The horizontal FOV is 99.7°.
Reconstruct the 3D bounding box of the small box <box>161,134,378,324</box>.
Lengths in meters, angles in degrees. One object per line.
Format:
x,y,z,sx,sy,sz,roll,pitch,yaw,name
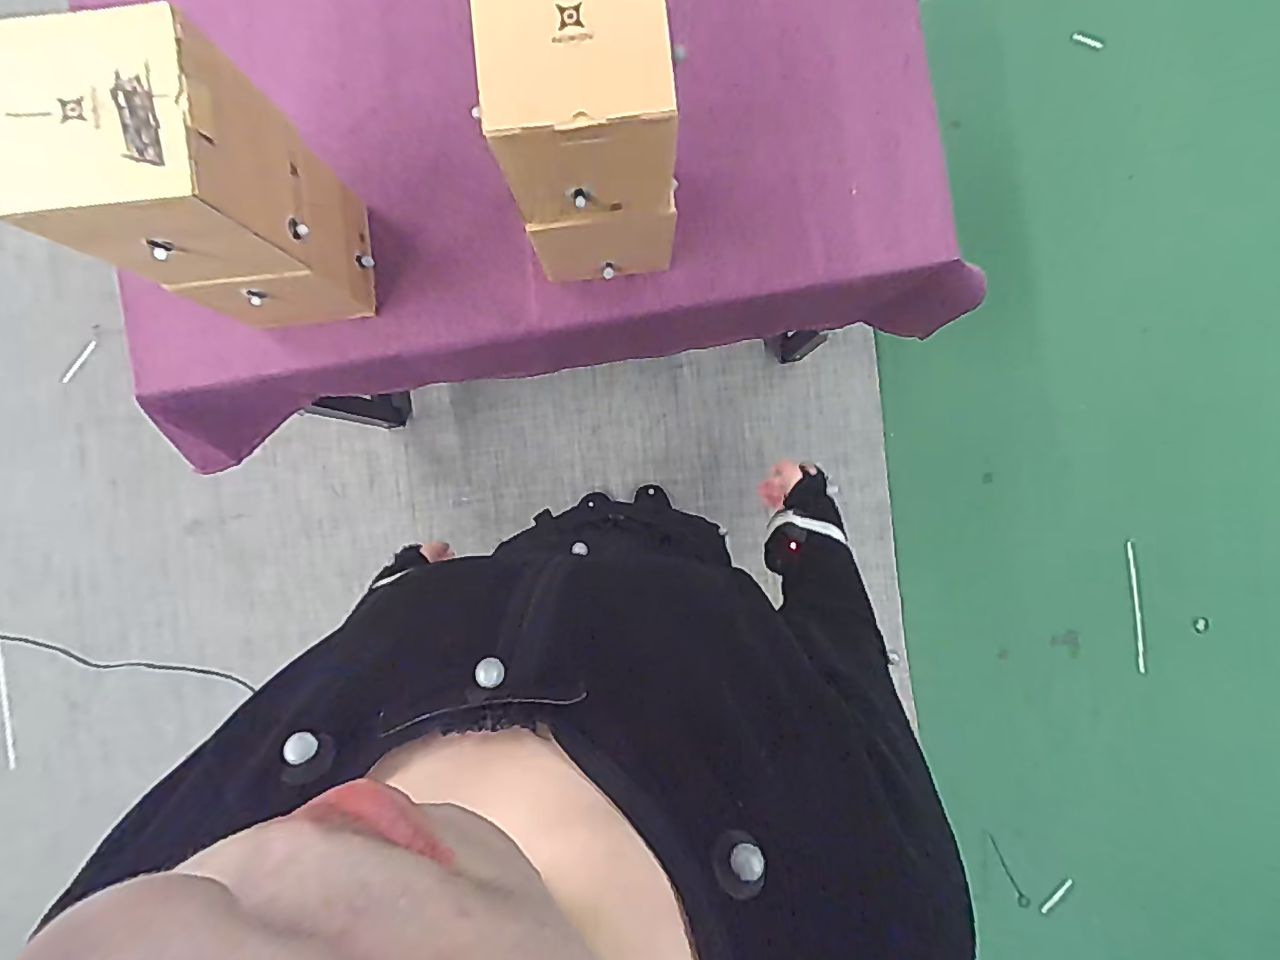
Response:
-0.471,-0.309,0.701,0.179,0.176,0.168,-6,91,-1,small box

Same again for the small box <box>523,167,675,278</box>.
-0.056,-0.379,0.702,0.179,0.176,0.168,-7,90,-1,small box

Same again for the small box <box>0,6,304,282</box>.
-0.466,-0.312,0.537,0.179,0.176,0.168,-7,91,0,small box

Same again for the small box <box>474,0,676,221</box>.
-0.059,-0.389,0.538,0.168,0.176,0.179,-7,91,0,small box
